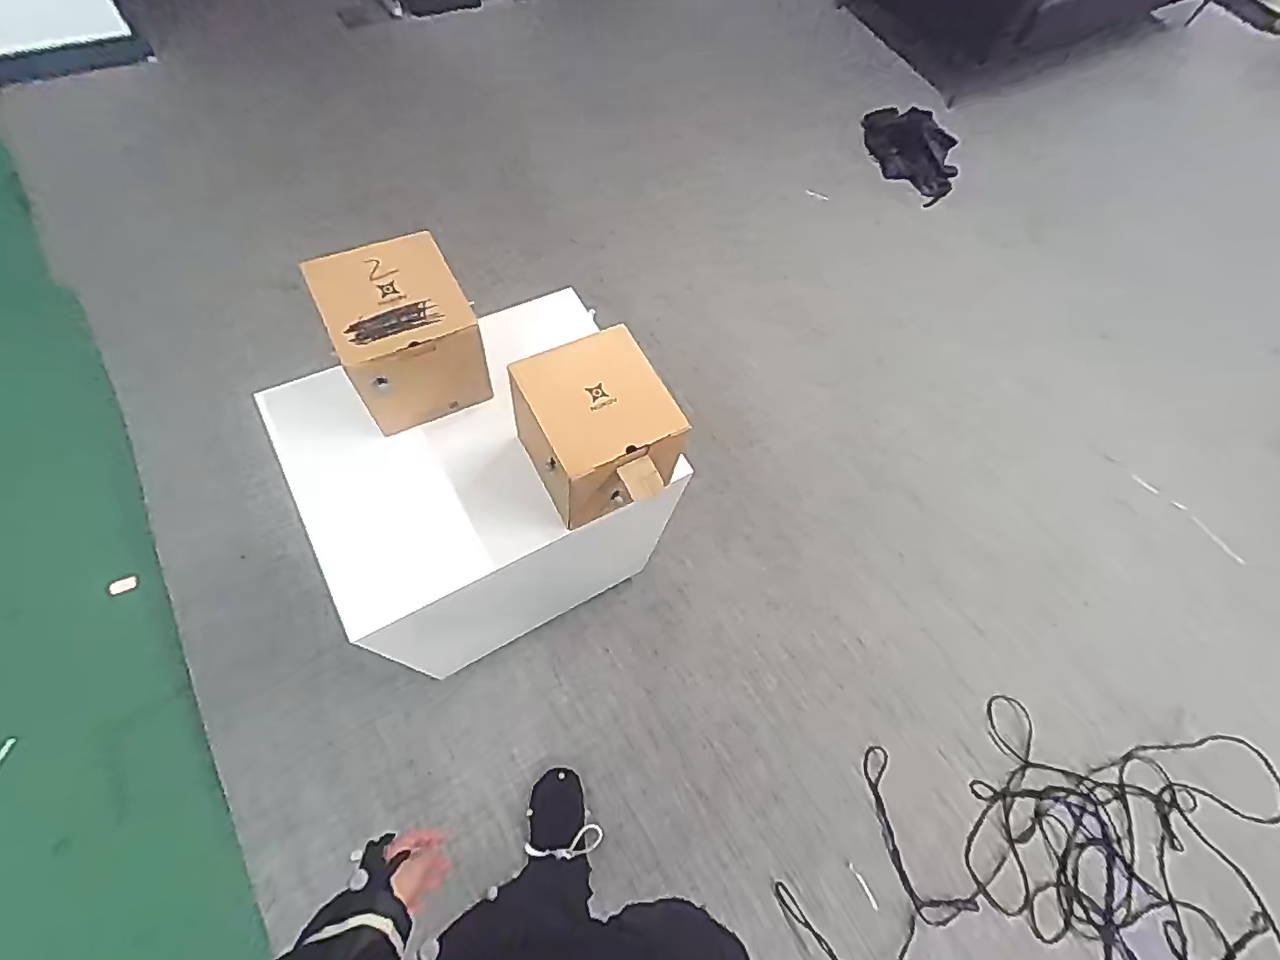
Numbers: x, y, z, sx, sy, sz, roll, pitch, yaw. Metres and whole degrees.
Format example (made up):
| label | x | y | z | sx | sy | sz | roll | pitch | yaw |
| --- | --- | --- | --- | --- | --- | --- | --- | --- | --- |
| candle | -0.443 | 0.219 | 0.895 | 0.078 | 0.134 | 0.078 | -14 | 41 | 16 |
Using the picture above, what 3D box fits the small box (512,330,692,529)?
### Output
| label | x | y | z | sx | sy | sz | roll | pitch | yaw |
| --- | --- | --- | --- | --- | --- | --- | --- | --- | --- |
| small box | -0.057 | -0.062 | 0.724 | 0.168 | 0.176 | 0.179 | -25 | 70 | -18 |
